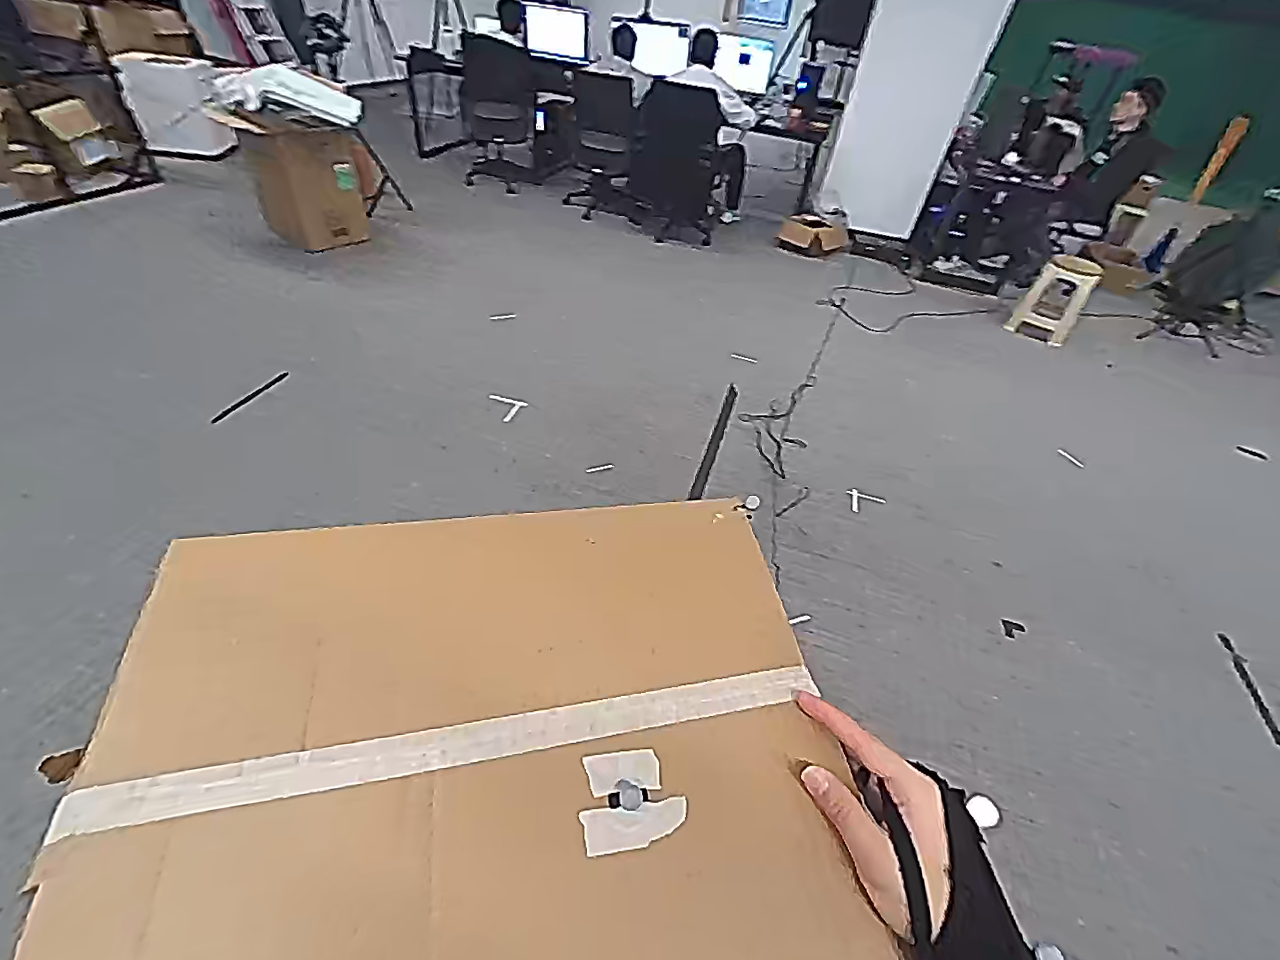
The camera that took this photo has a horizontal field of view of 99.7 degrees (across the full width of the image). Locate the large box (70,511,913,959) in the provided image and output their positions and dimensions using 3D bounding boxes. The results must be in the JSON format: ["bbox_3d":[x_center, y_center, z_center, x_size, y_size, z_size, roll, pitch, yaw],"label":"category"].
[{"bbox_3d":[-0.099,0.249,0.437,0.408,0.320,0.320,-3,53,-15],"label":"large box"}]
